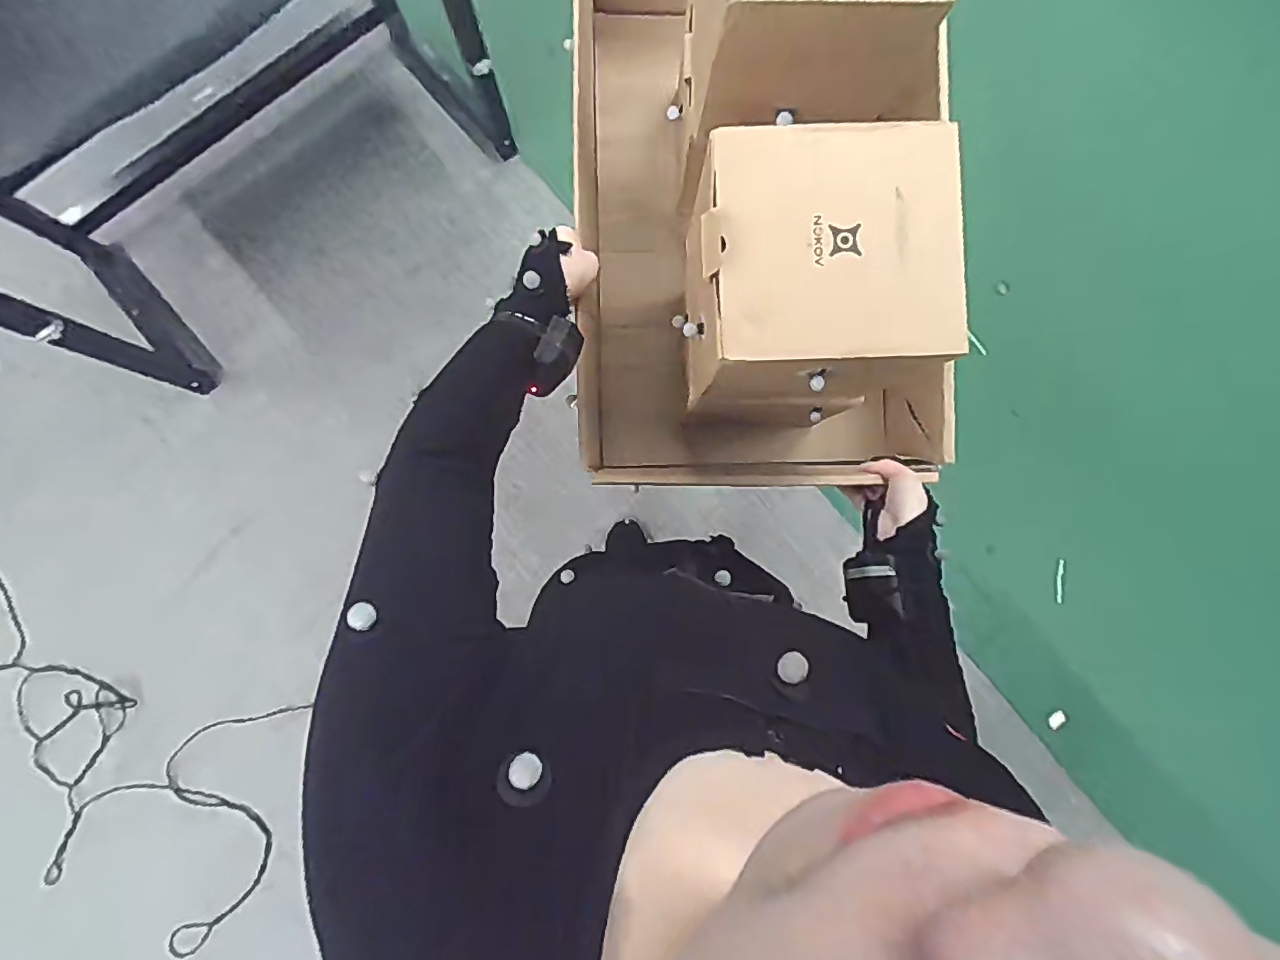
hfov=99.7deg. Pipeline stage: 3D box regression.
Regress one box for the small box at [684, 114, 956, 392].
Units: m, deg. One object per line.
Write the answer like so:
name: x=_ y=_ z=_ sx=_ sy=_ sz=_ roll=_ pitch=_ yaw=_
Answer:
small box: x=0.130 y=-0.171 z=0.458 sx=0.179 sy=0.176 sz=0.168 roll=-3 pitch=90 yaw=-2
